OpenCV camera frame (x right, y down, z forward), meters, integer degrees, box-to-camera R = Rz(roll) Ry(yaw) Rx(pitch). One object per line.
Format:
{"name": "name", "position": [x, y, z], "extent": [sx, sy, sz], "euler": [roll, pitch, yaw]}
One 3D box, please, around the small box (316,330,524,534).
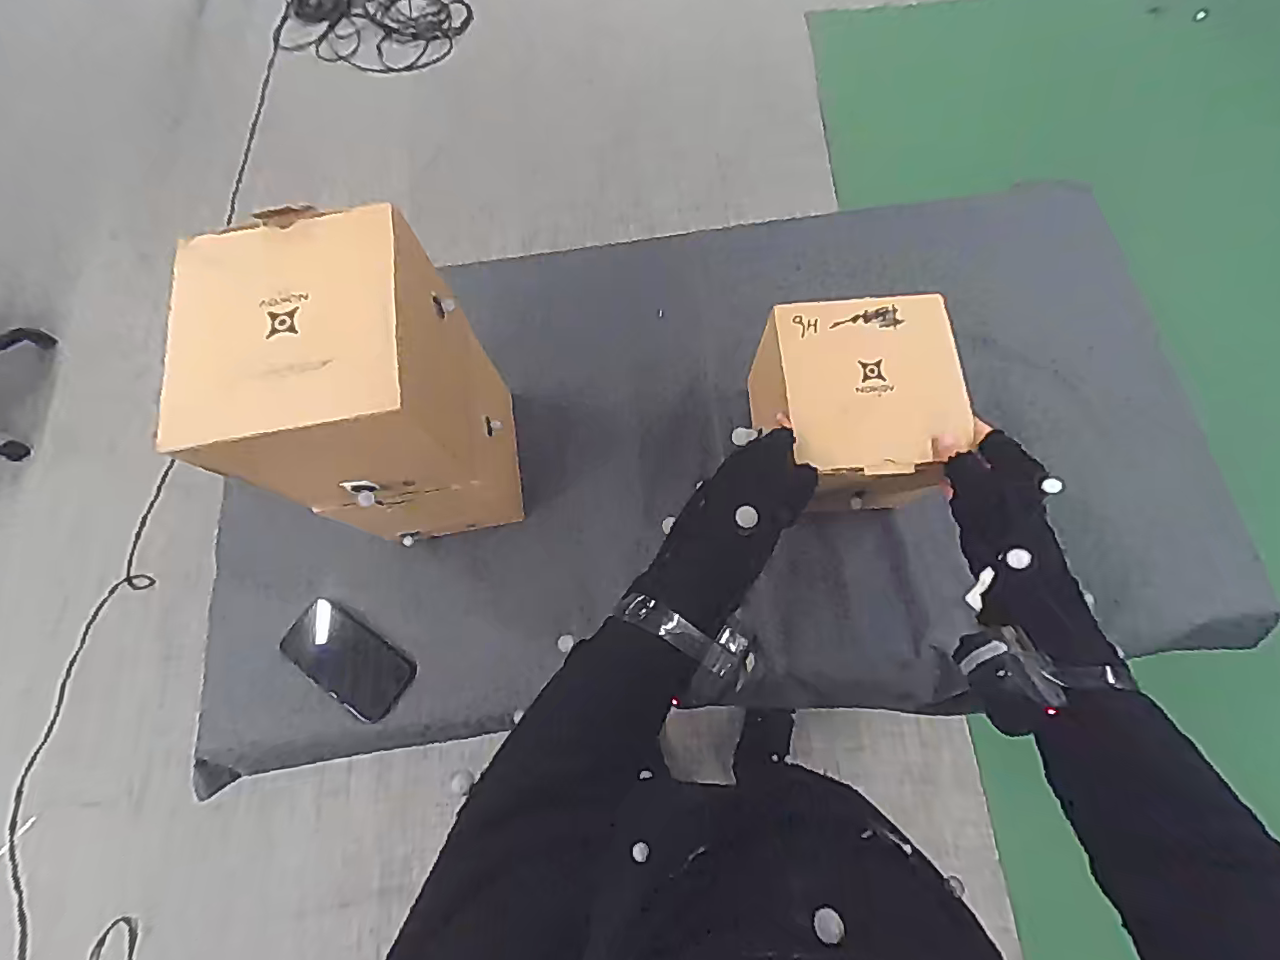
{"name": "small box", "position": [-0.237, -0.042, 0.615], "extent": [0.168, 0.176, 0.179], "euler": [-10, 72, -1]}

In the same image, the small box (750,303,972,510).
{"name": "small box", "position": [0.219, -0.066, 0.588], "extent": [0.168, 0.176, 0.179], "euler": [-3, 74, 1]}

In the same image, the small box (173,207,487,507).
{"name": "small box", "position": [-0.241, -0.090, 0.461], "extent": [0.168, 0.176, 0.179], "euler": [-11, 74, 0]}
